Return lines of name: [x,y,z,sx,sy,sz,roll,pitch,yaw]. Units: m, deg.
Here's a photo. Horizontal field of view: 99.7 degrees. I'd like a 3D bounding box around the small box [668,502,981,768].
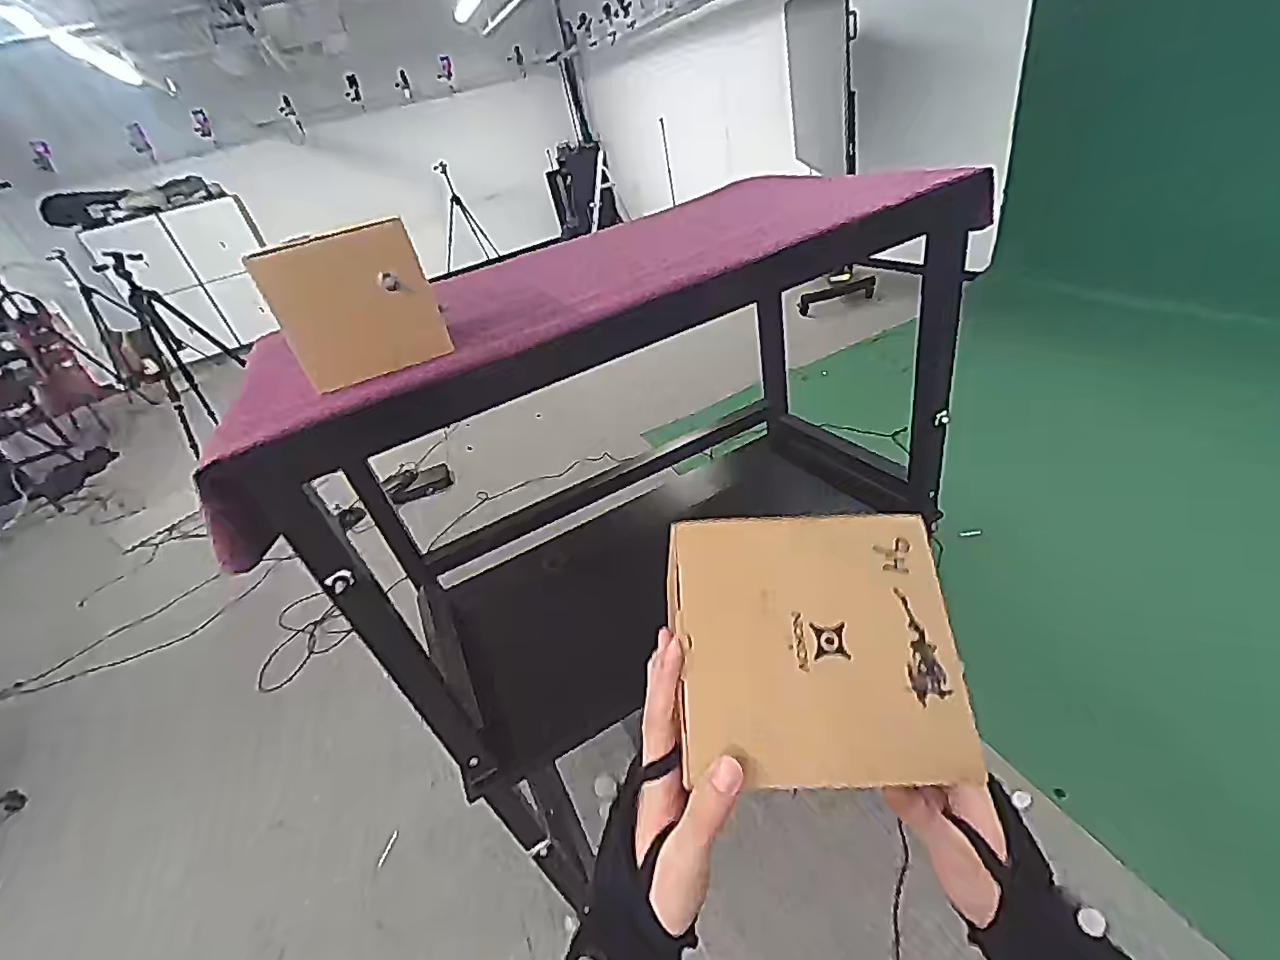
small box: [0.112,0.124,0.417,0.179,0.176,0.168,-2,67,2]
